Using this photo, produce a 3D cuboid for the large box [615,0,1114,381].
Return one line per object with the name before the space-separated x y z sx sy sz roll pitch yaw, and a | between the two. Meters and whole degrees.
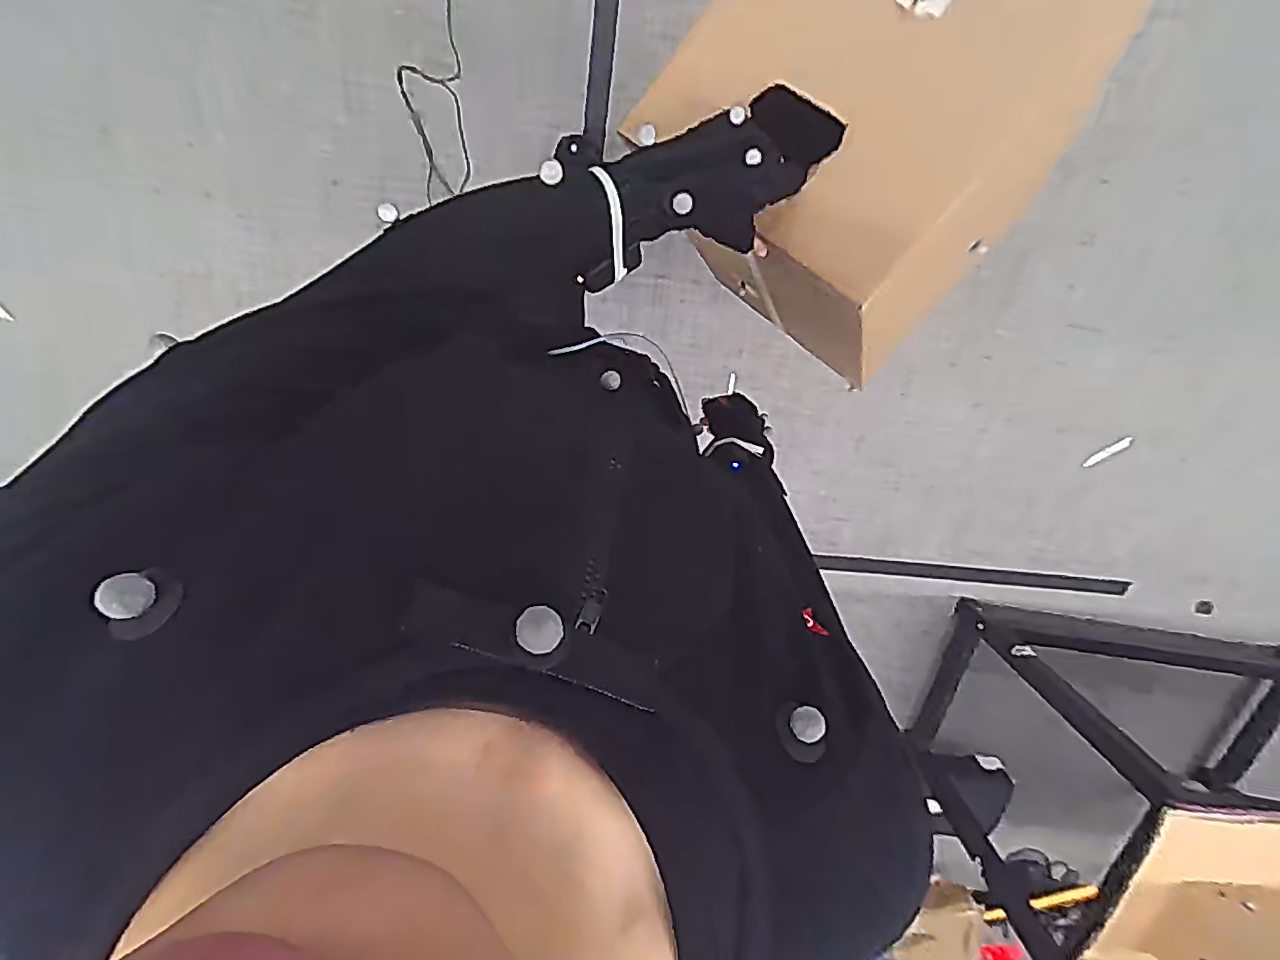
large box | 0.246 -0.365 0.646 0.320 0.408 0.320 45 106 18
